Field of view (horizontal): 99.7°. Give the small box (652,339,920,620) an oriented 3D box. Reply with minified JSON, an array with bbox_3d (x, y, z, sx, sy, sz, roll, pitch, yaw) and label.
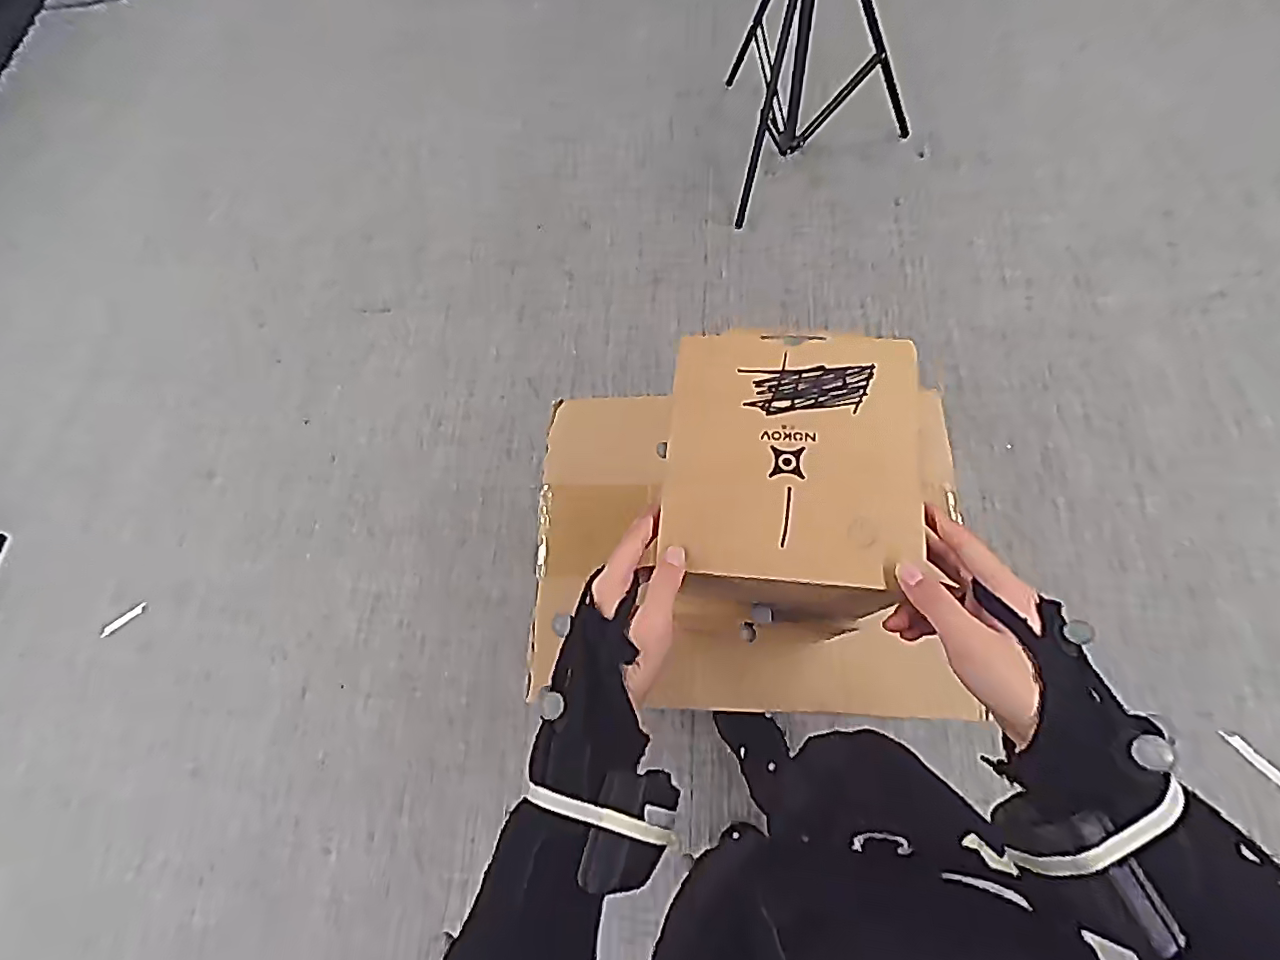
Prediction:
[{"bbox_3d":[0.108,0.009,0.436,0.168,0.176,0.179,4,72,10],"label":"small box"}]

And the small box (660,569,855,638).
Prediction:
[{"bbox_3d":[0.123,0.077,0.586,0.179,0.176,0.168,3,71,10],"label":"small box"}]
